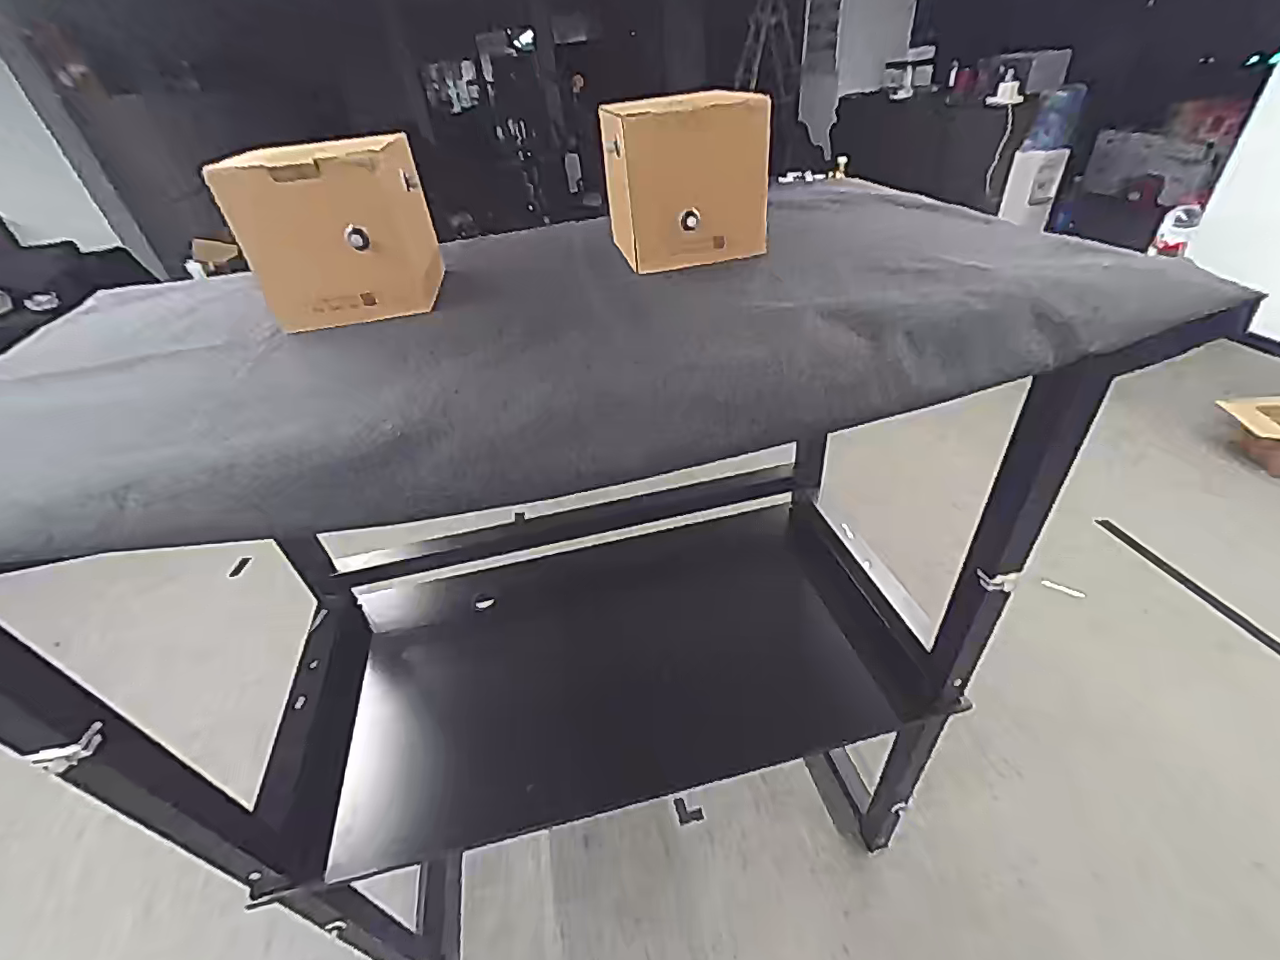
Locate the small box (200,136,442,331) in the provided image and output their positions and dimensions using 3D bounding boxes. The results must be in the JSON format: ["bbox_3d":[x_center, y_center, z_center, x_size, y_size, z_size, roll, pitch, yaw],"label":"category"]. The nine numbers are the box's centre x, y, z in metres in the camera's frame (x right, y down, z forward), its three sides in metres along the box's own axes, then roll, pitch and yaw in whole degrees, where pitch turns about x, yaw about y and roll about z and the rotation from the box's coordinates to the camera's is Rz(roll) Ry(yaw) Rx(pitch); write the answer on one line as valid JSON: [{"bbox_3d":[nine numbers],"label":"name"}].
[{"bbox_3d":[-0.342,-0.282,0.628,0.168,0.176,0.179,-10,39,-5],"label":"small box"}]

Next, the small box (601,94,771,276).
[{"bbox_3d":[0.051,-0.372,0.680,0.168,0.176,0.179,-12,39,-6],"label":"small box"}]
